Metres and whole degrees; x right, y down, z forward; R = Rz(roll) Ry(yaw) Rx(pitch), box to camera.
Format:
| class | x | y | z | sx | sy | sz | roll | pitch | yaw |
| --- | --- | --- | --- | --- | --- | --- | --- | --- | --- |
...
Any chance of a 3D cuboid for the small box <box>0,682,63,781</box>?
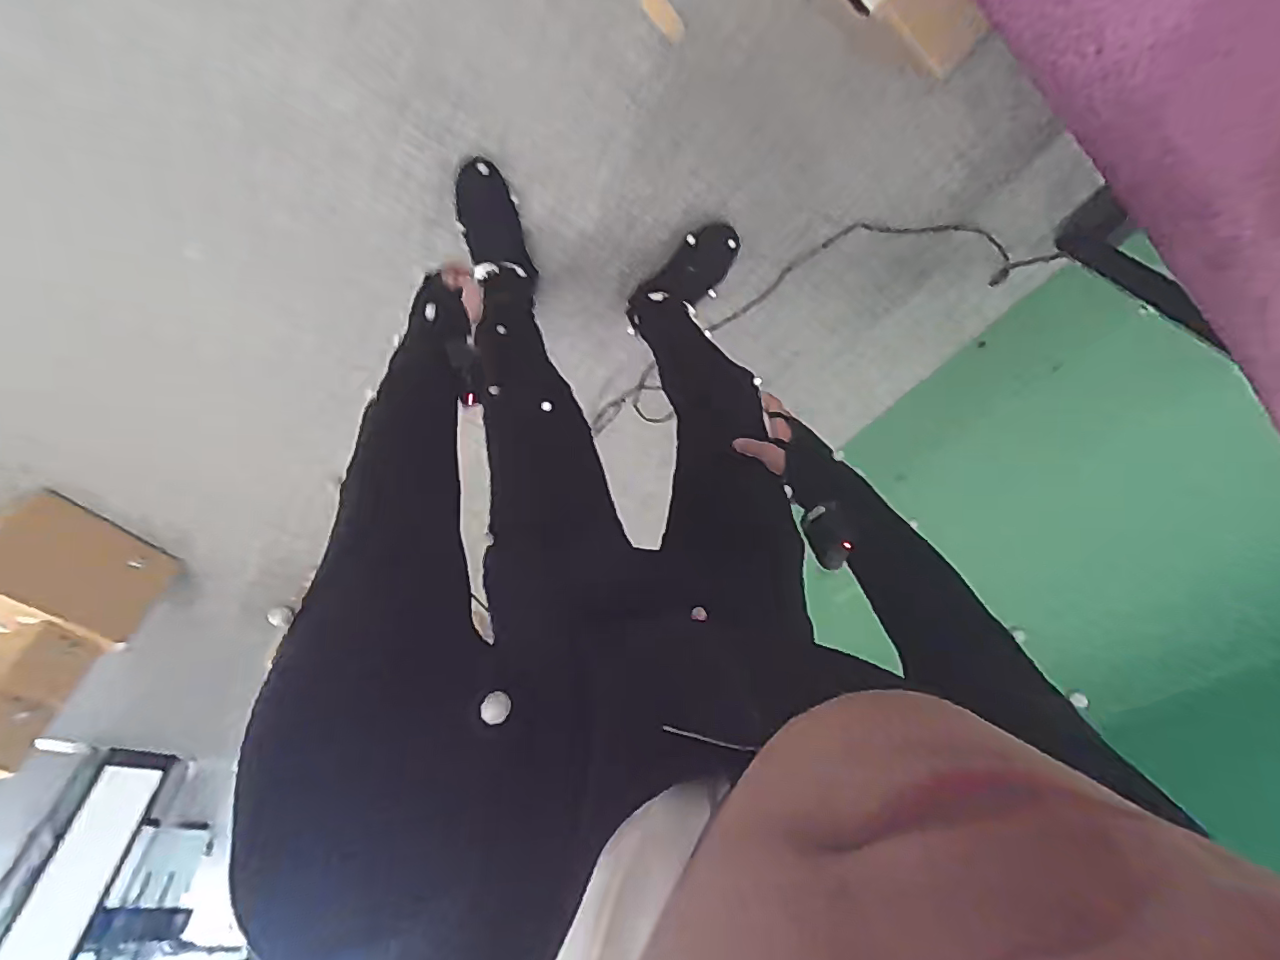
| class | x | y | z | sx | sy | sz | roll | pitch | yaw |
| --- | --- | --- | --- | --- | --- | --- | --- | --- | --- |
| small box | -1.586 | 0.614 | 1.305 | 0.179 | 0.176 | 0.168 | -14 | 133 | 6 |
